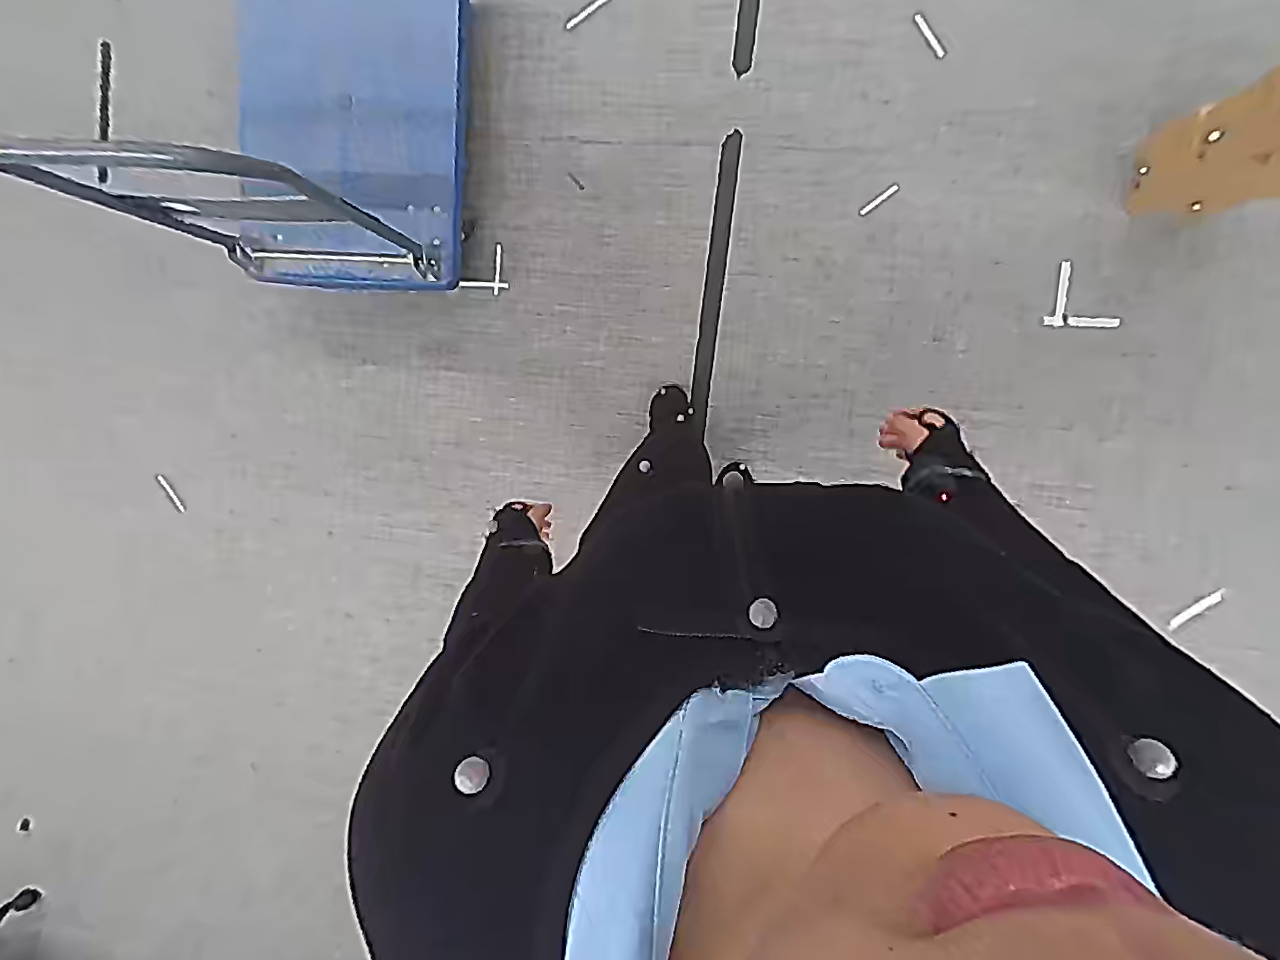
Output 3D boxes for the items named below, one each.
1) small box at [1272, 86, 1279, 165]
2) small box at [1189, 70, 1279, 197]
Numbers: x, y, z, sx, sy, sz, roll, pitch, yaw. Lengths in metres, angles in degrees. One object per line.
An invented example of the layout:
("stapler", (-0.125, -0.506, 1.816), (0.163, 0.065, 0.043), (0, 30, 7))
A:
("small box", (1.230, -0.645, 0.890), (0.179, 0.176, 0.168), (-1, 95, 8))
("small box", (1.250, -0.673, 1.050), (0.179, 0.176, 0.168), (10, 96, 6))
